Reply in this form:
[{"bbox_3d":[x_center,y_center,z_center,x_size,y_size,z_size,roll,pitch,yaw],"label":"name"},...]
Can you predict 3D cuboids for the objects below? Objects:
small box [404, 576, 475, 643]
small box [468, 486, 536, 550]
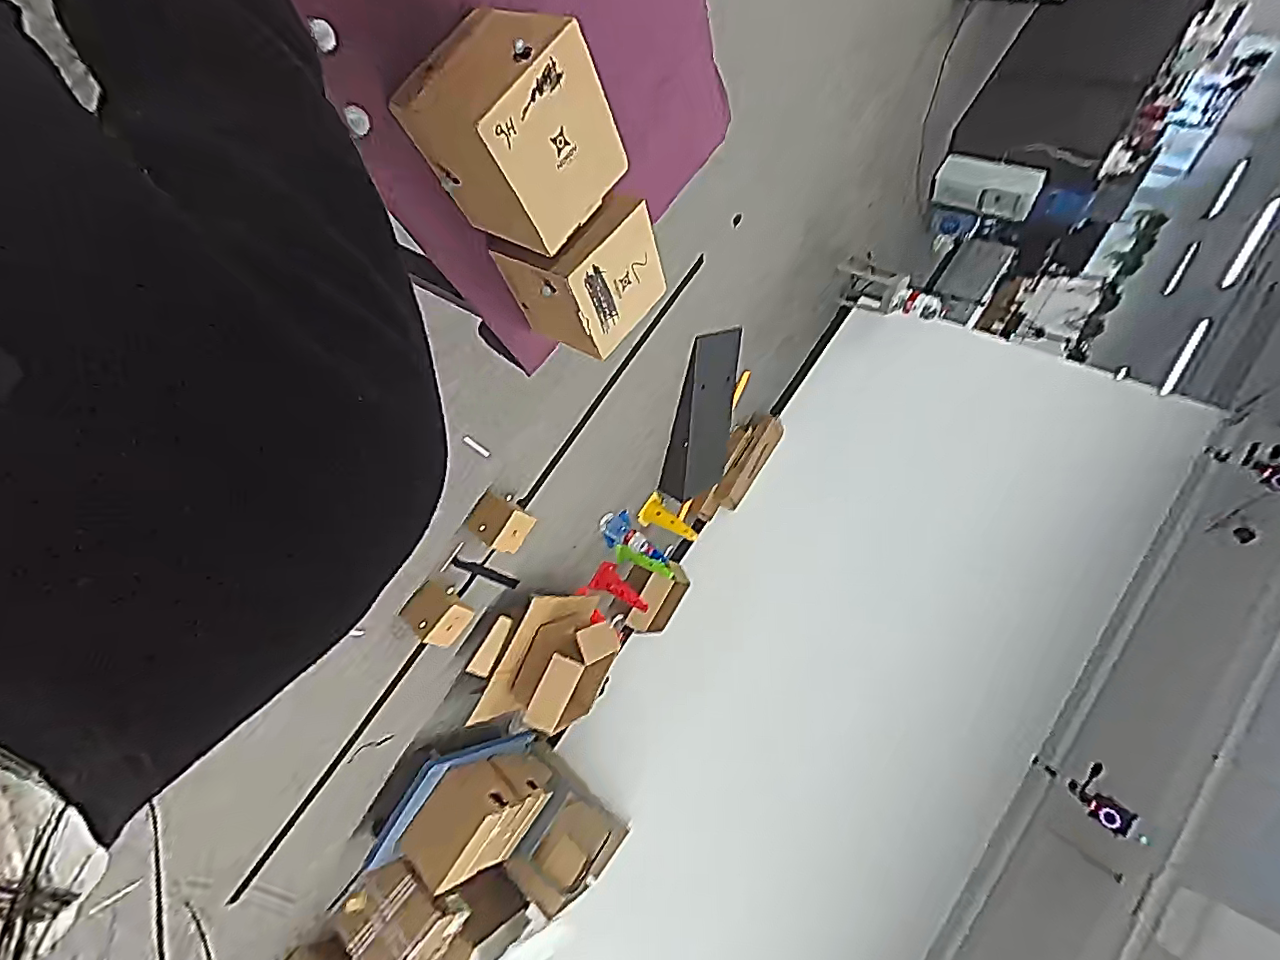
[{"bbox_3d":[-0.800,0.513,2.139,0.179,0.176,0.168,-52,153,-11],"label":"small box"},{"bbox_3d":[-0.561,0.153,2.170,0.179,0.176,0.168,-58,154,-2],"label":"small box"}]
